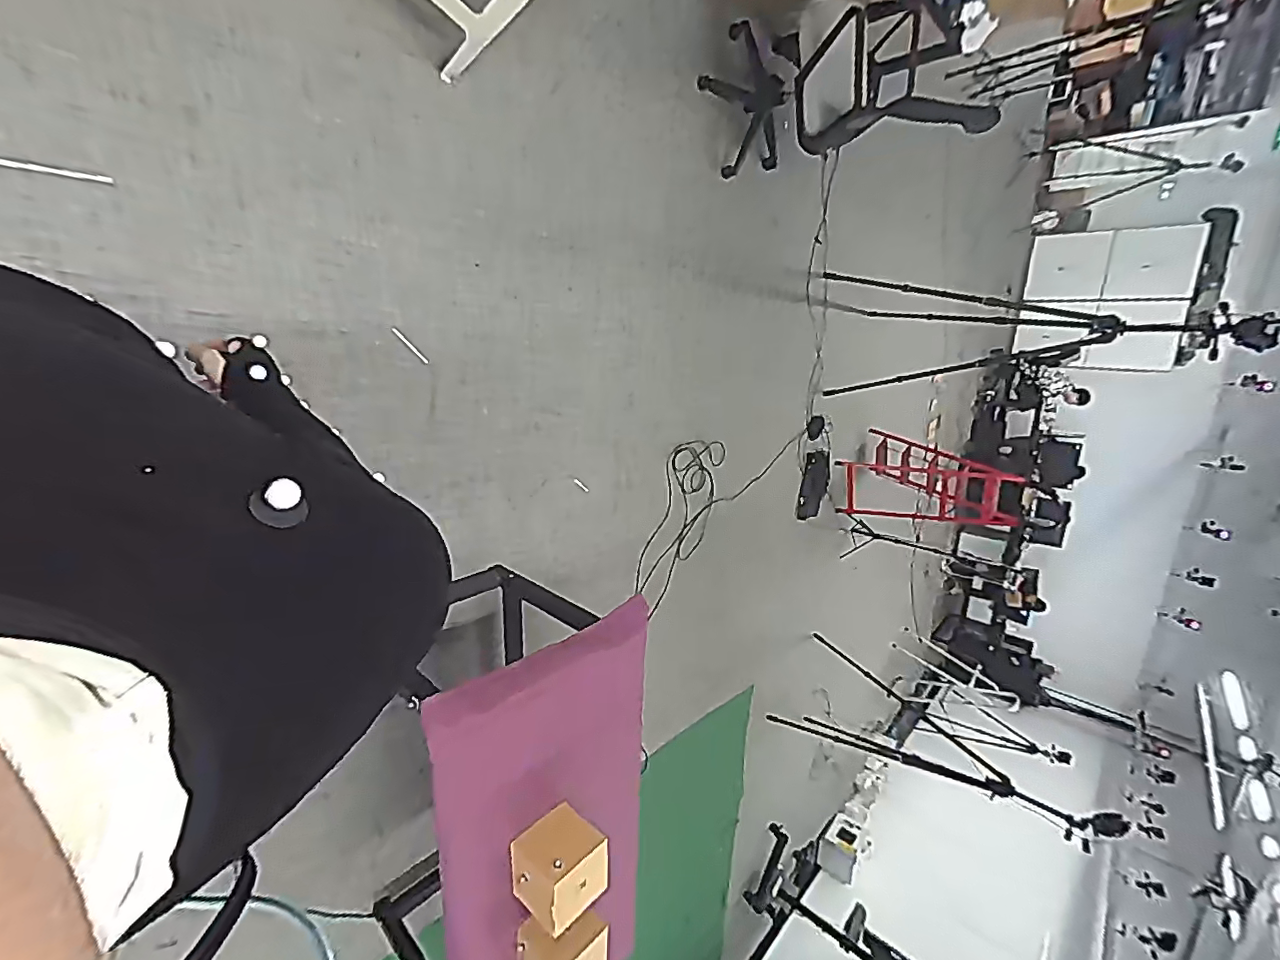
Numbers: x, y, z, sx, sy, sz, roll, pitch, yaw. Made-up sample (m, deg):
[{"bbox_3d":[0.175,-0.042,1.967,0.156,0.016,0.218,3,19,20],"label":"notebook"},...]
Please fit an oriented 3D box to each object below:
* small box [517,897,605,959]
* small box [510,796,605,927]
[{"bbox_3d":[-0.215,1.235,1.450,0.179,0.176,0.168,-13,110,-47],"label":"small box"},{"bbox_3d":[-0.209,0.957,1.376,0.179,0.176,0.168,-15,113,-44],"label":"small box"}]
